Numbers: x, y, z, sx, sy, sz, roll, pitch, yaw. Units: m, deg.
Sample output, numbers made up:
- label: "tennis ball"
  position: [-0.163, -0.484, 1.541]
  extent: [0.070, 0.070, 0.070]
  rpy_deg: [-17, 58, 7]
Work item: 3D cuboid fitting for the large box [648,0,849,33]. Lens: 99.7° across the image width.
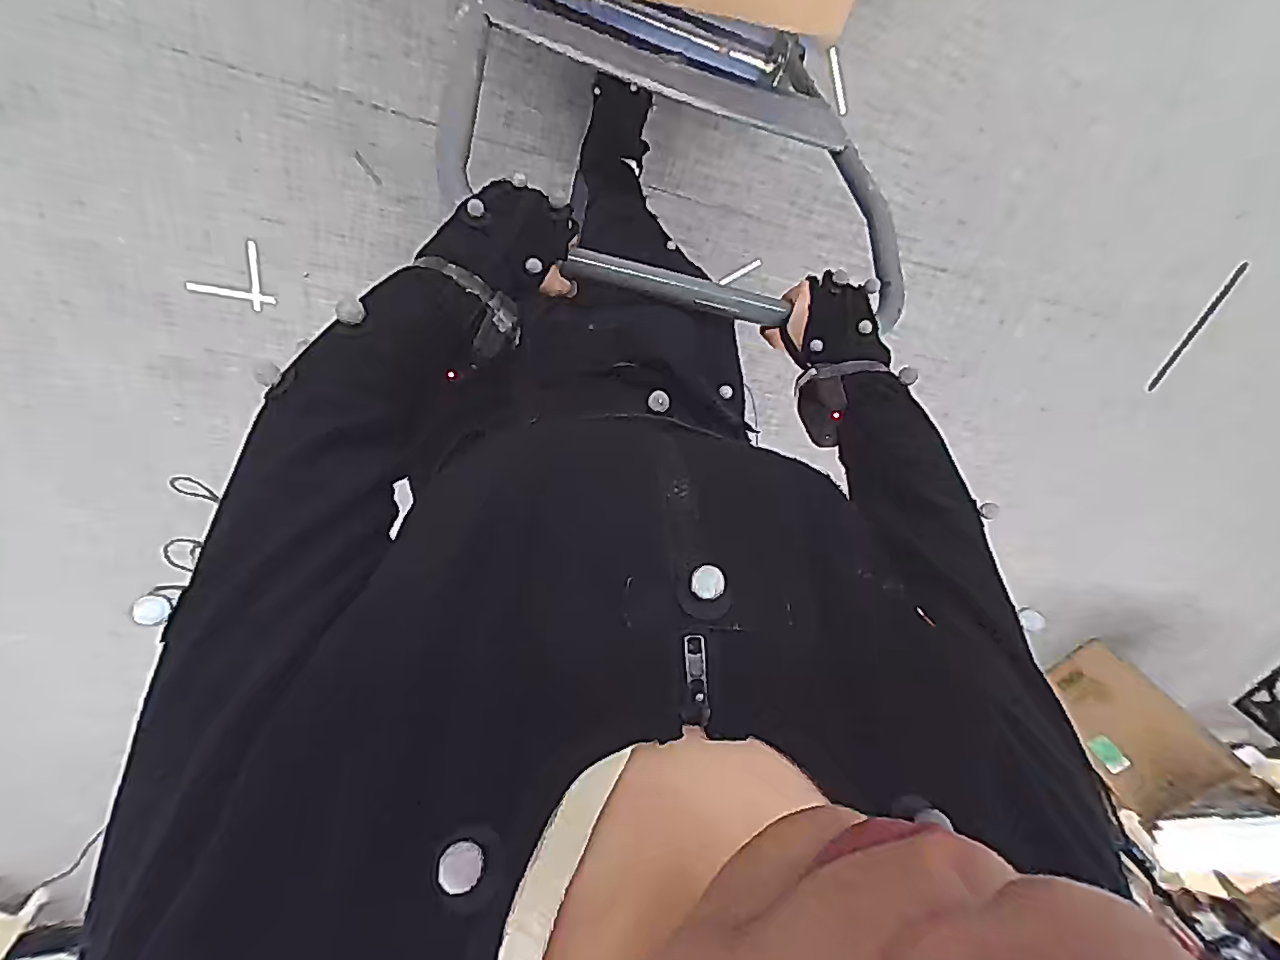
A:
- label: "large box"
  position: [0.063, -0.777, 0.613]
  extent: [0.408, 0.320, 0.320]
  rpy_deg: [1, 144, -12]
